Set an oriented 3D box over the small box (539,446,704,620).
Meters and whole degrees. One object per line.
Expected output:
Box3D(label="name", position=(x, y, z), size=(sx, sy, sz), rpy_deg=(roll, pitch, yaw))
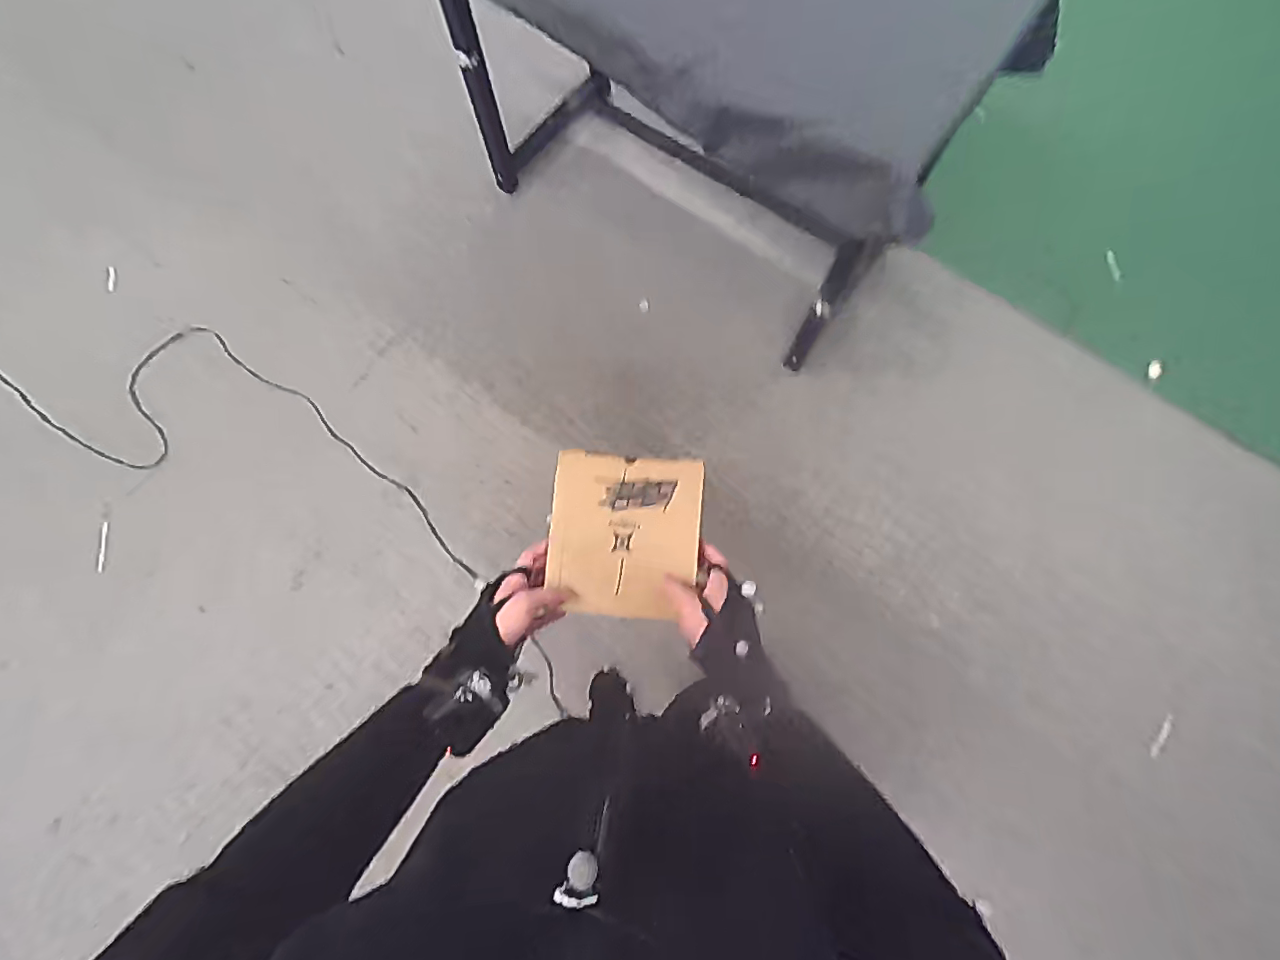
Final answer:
Box3D(label="small box", position=(-0.017, 0.067, 0.657), size=(0.168, 0.176, 0.179), rpy_deg=(4, 81, 3))
